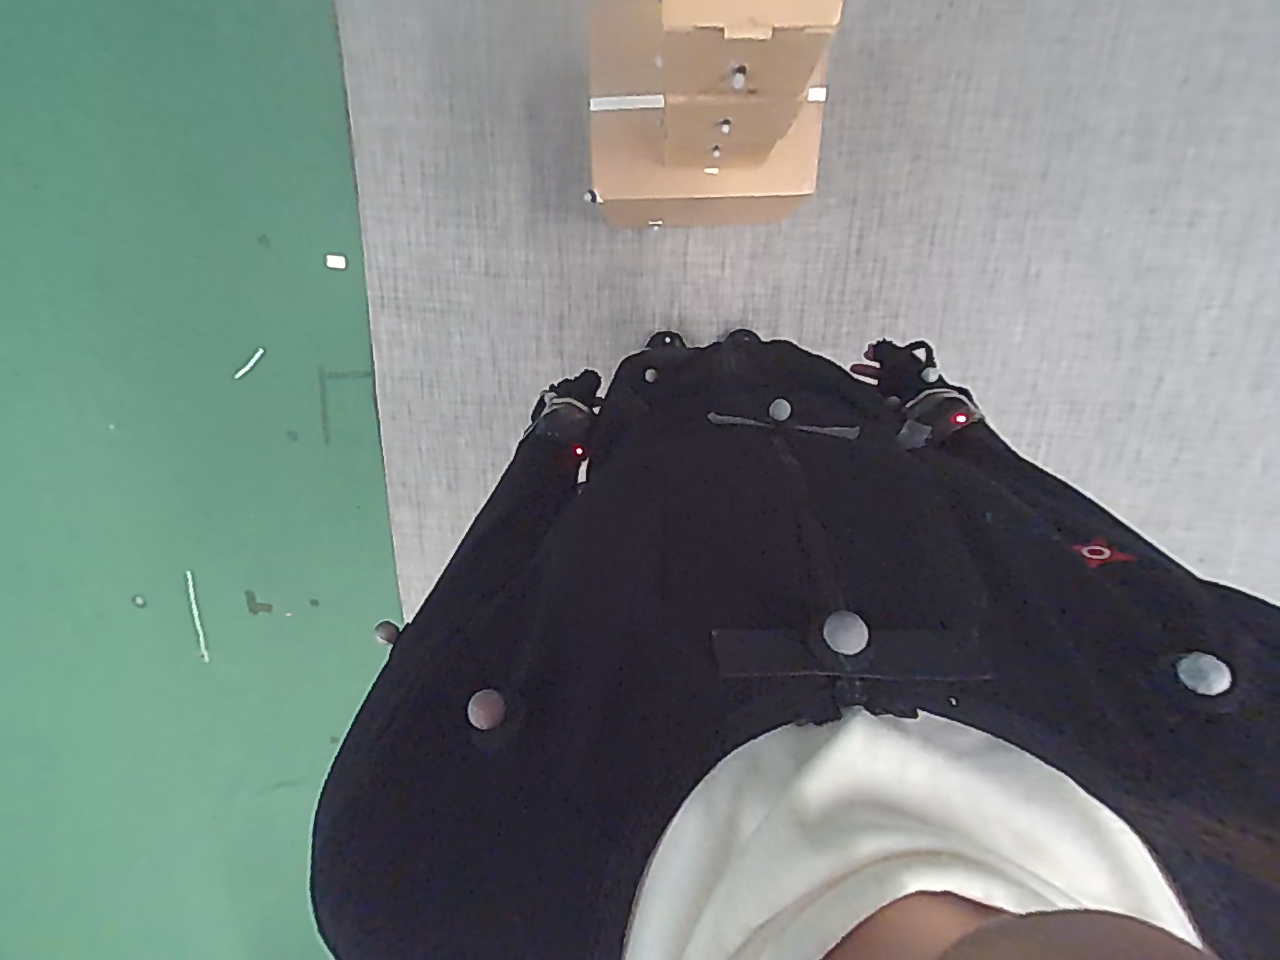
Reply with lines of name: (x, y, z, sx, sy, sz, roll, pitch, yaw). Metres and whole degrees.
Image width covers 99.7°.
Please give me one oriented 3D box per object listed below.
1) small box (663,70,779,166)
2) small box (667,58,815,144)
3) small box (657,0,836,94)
small box: (0.130, -0.616, 0.867, 0.179, 0.176, 0.168, 2, 108, 3)
small box: (0.124, -0.562, 0.712, 0.179, 0.176, 0.168, -2, 108, 4)
small box: (0.110, -0.523, 0.553, 0.168, 0.176, 0.179, 5, 108, 4)
